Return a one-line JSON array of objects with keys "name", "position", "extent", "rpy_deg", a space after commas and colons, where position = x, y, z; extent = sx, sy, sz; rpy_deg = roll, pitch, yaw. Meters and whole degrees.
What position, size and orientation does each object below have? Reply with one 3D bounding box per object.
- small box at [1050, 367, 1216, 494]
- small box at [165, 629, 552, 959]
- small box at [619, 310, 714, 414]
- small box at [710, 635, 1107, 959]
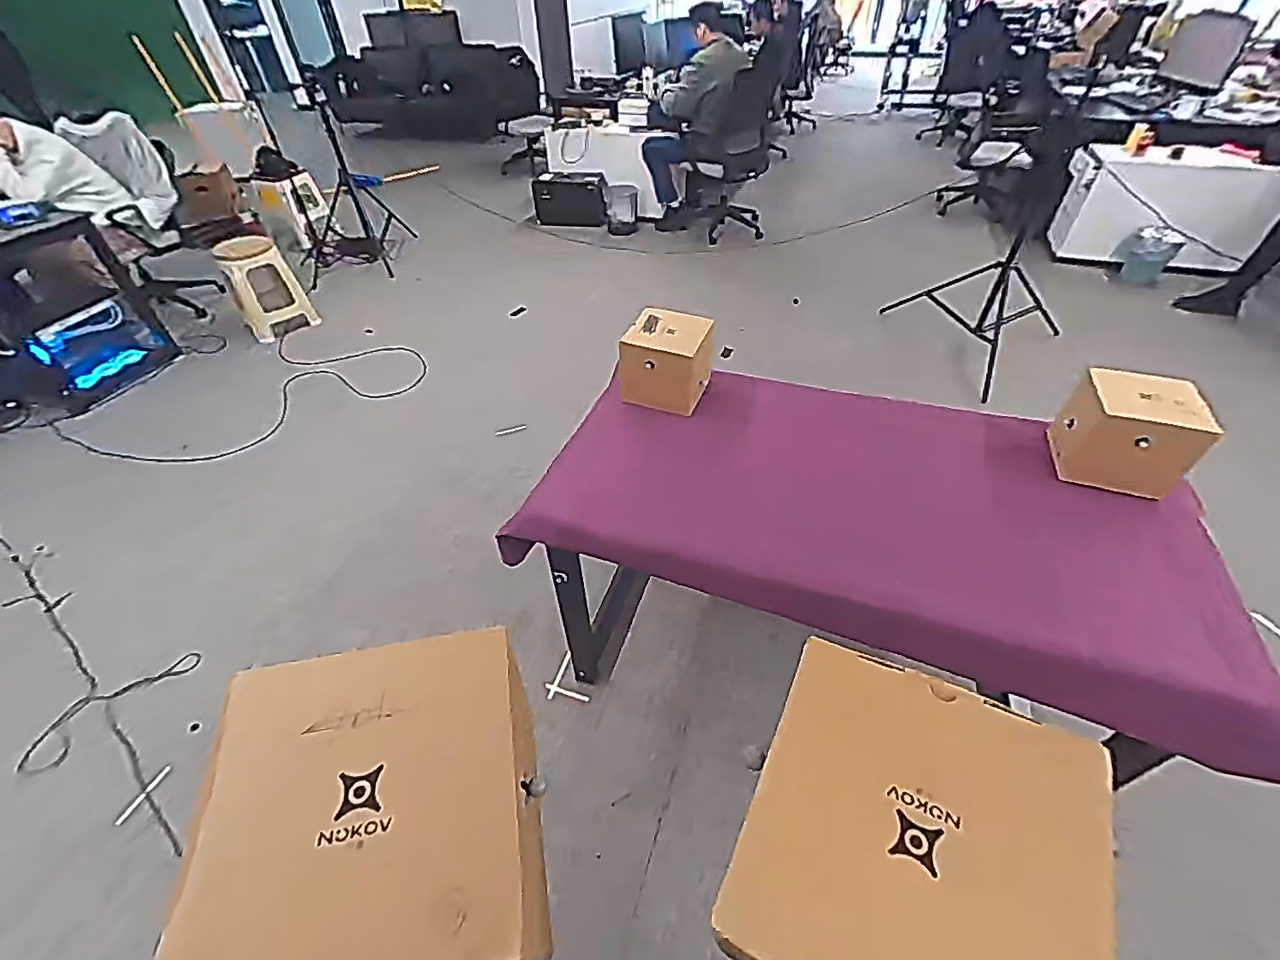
[{"name": "small box", "position": [0.940, -0.096, 1.058], "extent": [0.179, 0.176, 0.168], "rpy_deg": [14, 47, 15]}, {"name": "small box", "position": [-0.152, 0.226, 0.353], "extent": [0.168, 0.176, 0.179], "rpy_deg": [-8, 49, -11]}, {"name": "small box", "position": [0.064, -0.279, 1.282], "extent": [0.179, 0.176, 0.168], "rpy_deg": [16, 48, 16]}, {"name": "small box", "position": [0.157, 0.238, 0.341], "extent": [0.168, 0.176, 0.179], "rpy_deg": [16, 50, 25]}]
